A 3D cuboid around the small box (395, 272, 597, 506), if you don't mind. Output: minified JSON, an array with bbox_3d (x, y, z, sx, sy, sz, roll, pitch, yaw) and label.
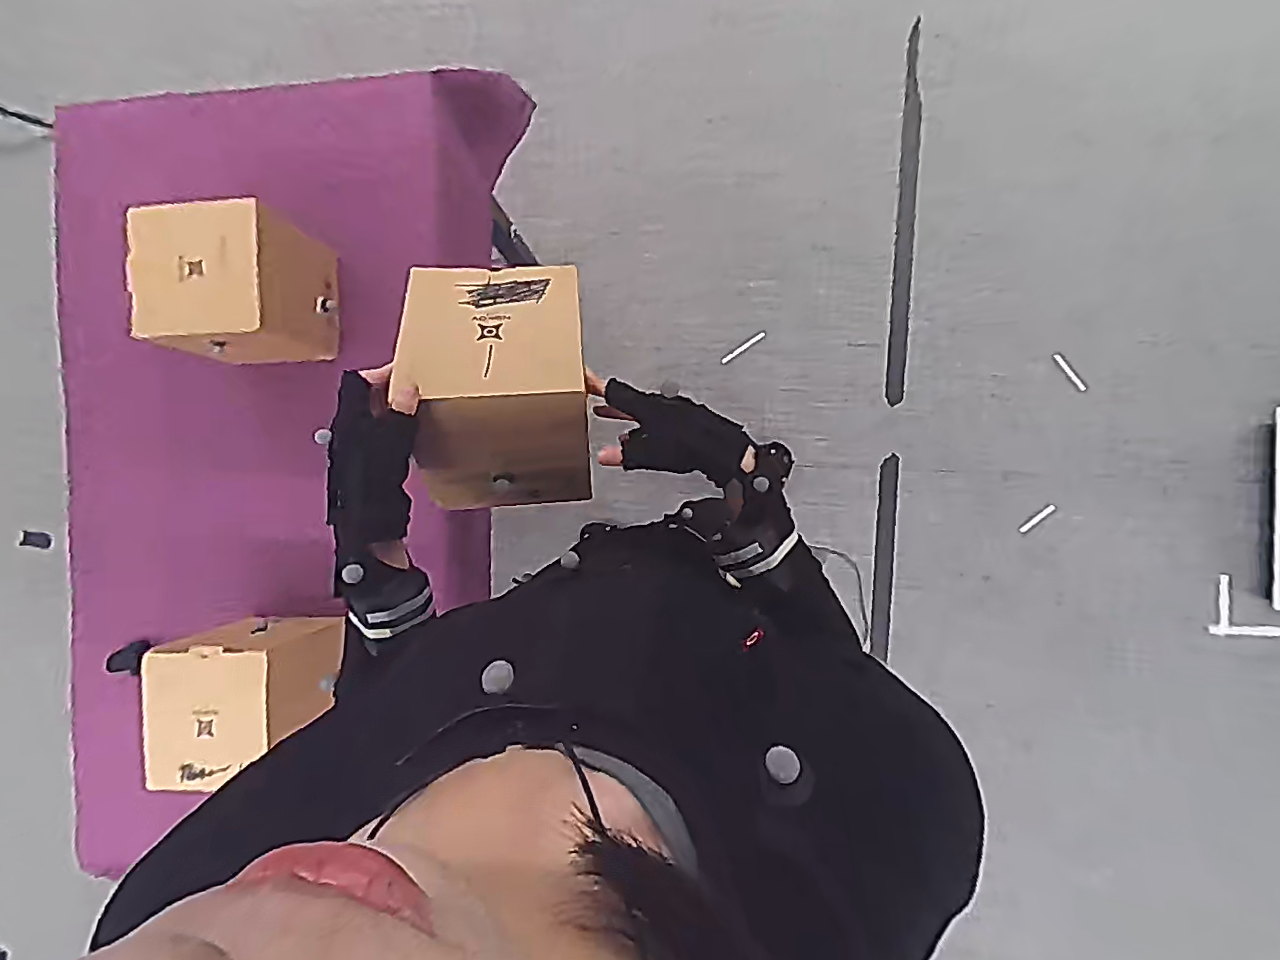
[{"bbox_3d":[-0.133,-0.093,0.563,0.168,0.176,0.179,-4,54,-5],"label":"small box"}]

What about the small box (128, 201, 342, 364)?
[{"bbox_3d":[-0.552,-0.262,0.755,0.179,0.176,0.168,-3,91,4],"label":"small box"}]

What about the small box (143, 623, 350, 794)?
[{"bbox_3d":[-0.525,0.299,0.744,0.168,0.176,0.179,-1,89,4],"label":"small box"}]
